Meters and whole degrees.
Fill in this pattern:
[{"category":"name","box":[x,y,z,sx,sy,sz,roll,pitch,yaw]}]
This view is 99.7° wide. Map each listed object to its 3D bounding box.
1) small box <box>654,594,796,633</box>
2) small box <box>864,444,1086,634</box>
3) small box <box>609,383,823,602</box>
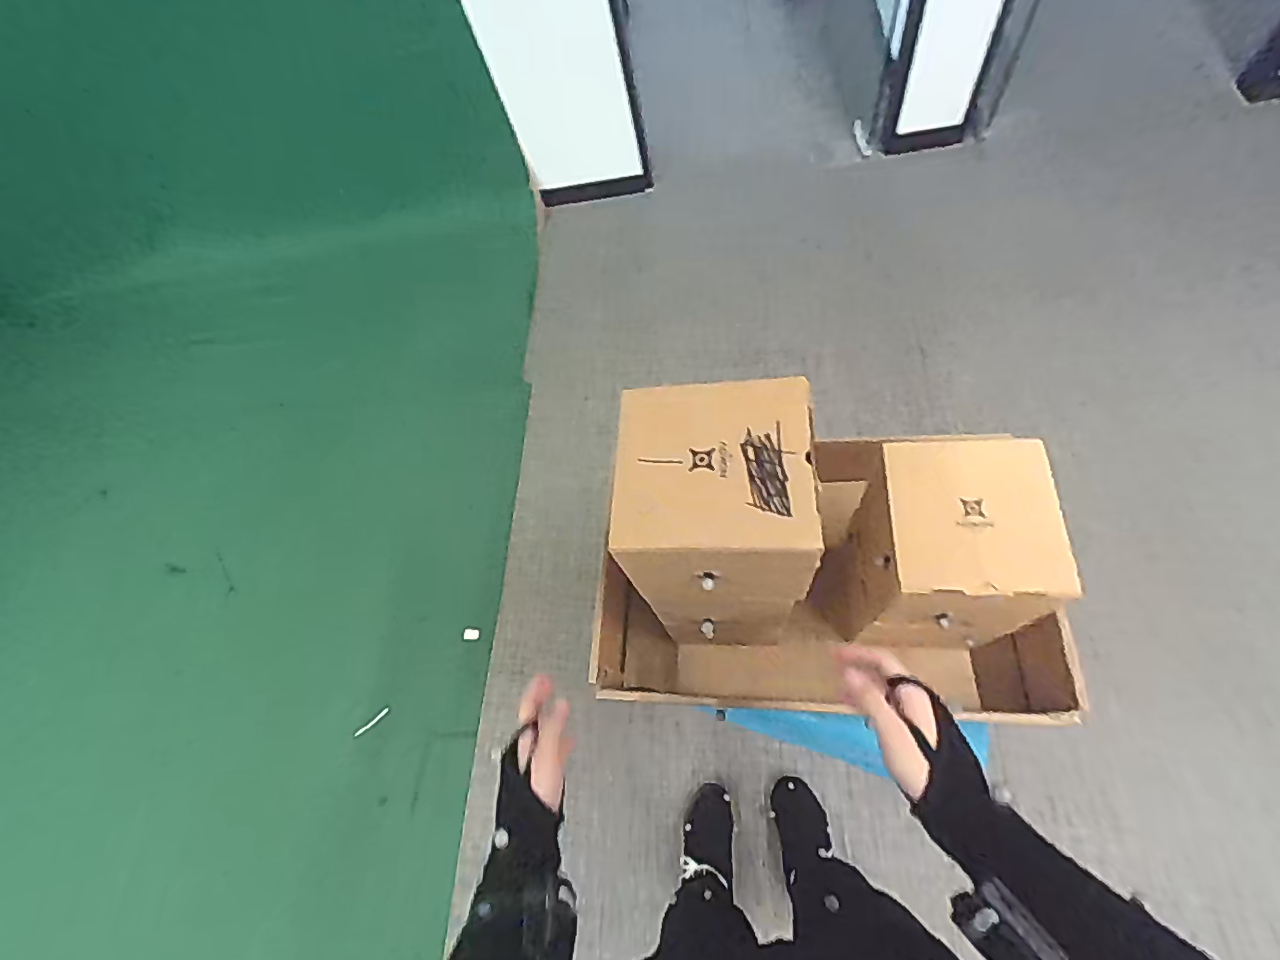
[{"category":"small box","box":[0.106,0.088,0.691,0.168,0.176,0.179,0,65,12]},{"category":"small box","box":[0.369,0.073,0.638,0.168,0.176,0.179,-1,64,13]},{"category":"small box","box":[0.079,0.022,0.544,0.179,0.176,0.168,-2,63,12]}]
